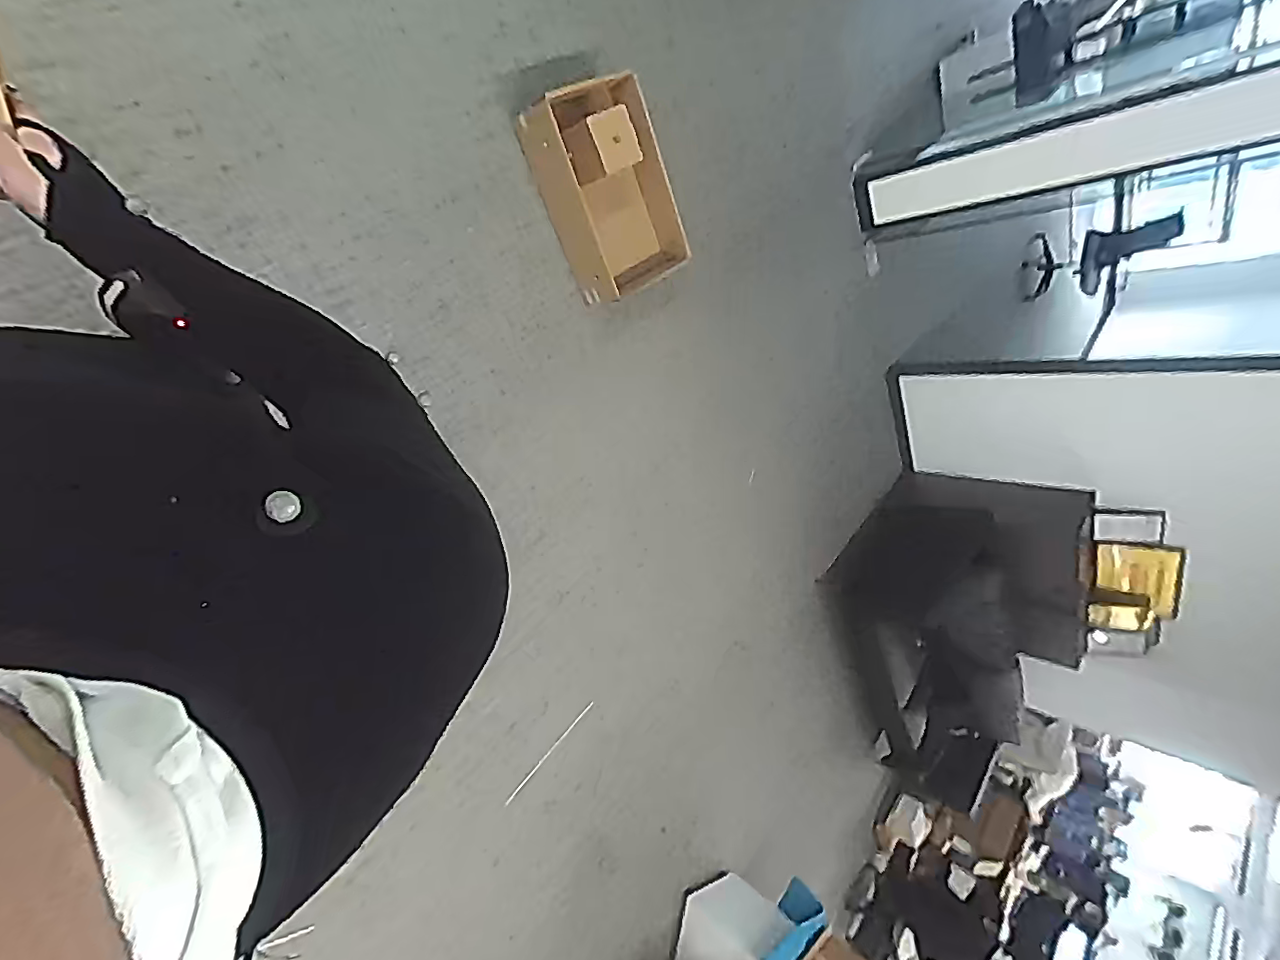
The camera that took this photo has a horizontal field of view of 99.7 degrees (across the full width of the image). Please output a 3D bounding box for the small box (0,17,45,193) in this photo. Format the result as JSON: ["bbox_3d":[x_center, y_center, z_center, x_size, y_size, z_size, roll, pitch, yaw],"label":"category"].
[{"bbox_3d":[-0.631,-0.358,0.440,0.168,0.176,0.179,-16,110,-41],"label":"small box"}]
